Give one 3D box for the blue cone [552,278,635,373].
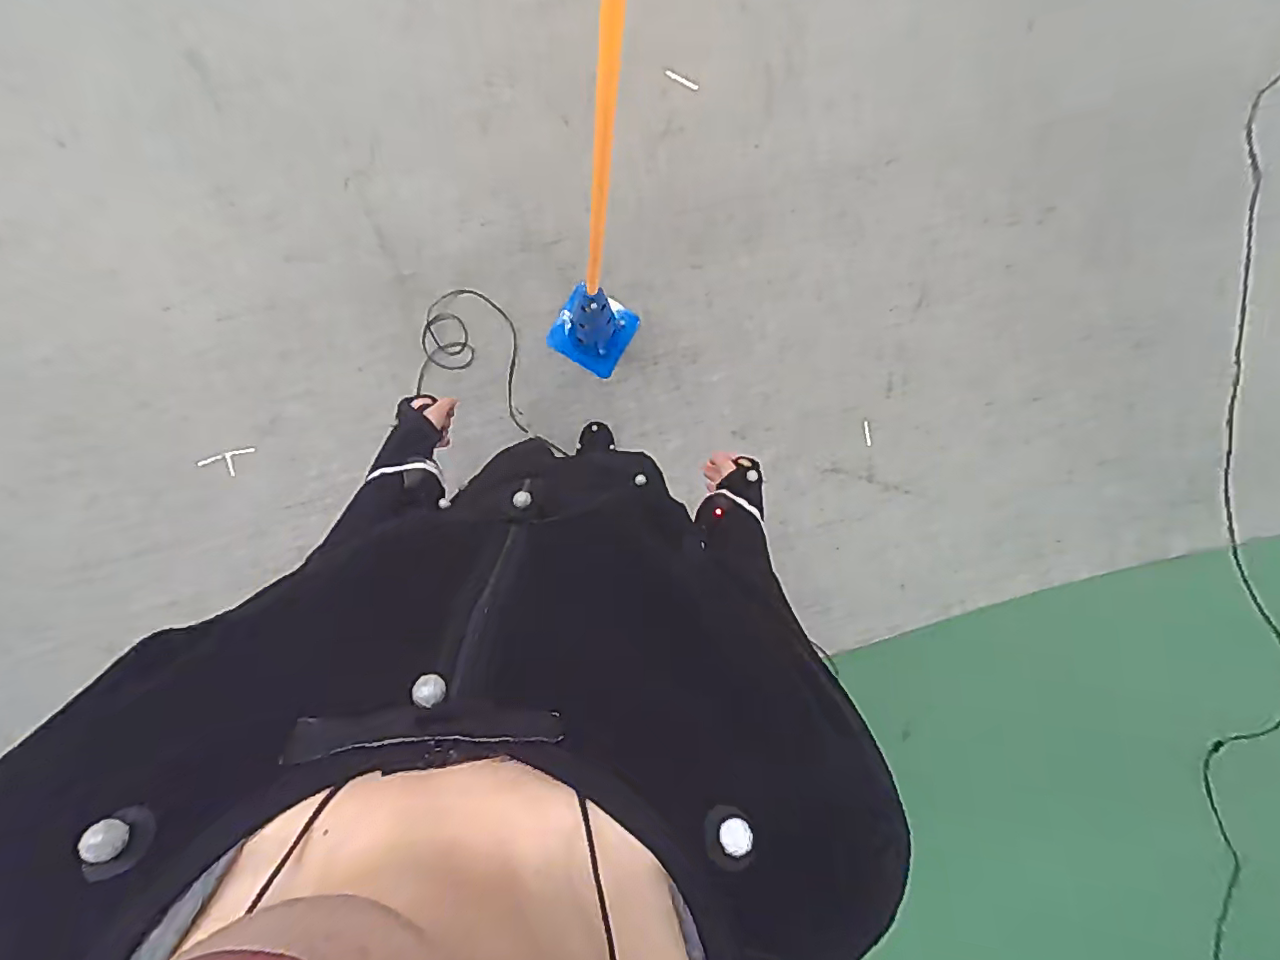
[{"bbox_3d":[-0.110,-0.403,1.285,0.192,0.380,0.193,30,88,-5],"label":"blue cone"}]
